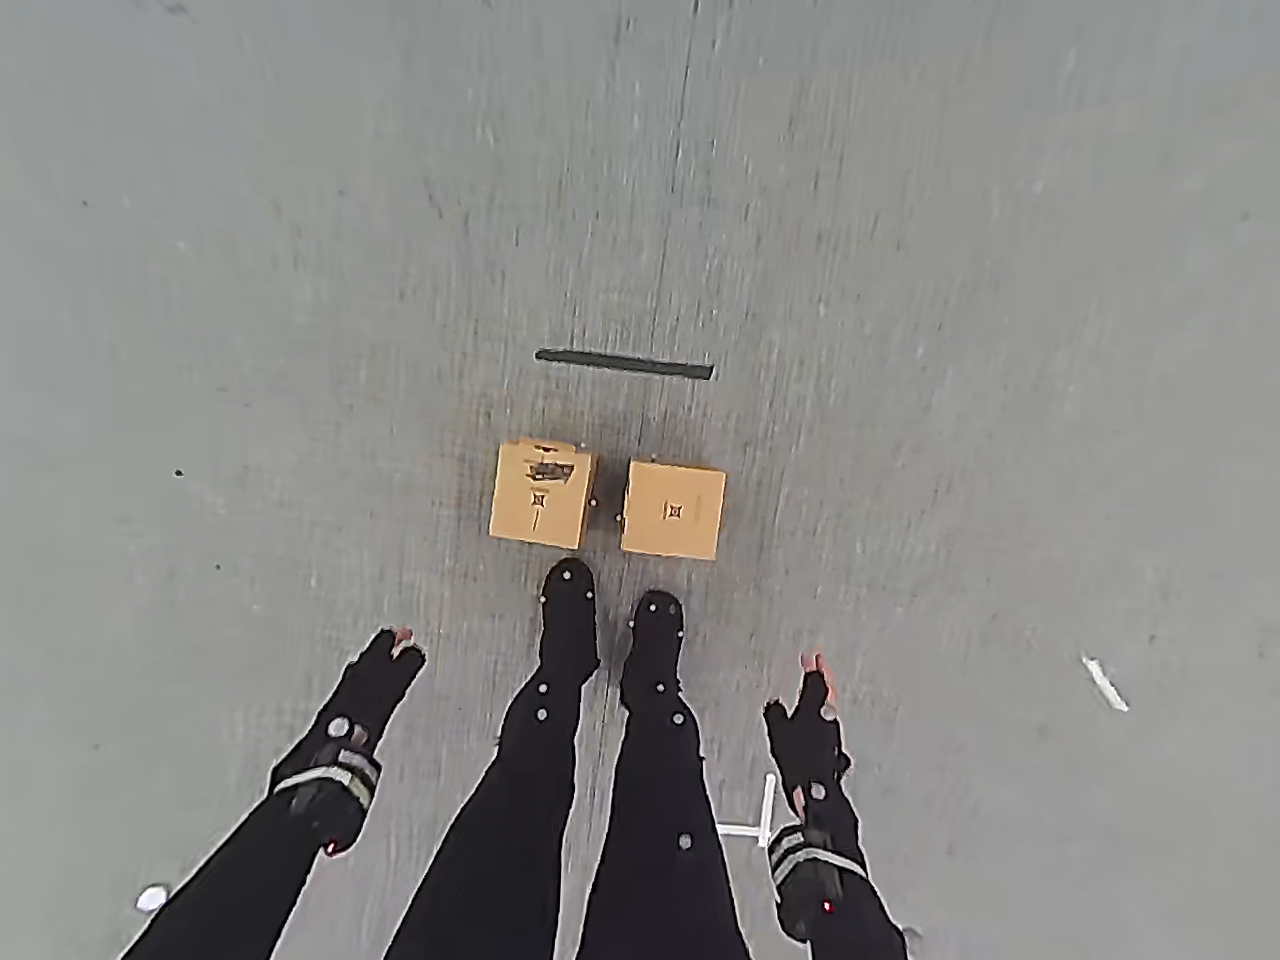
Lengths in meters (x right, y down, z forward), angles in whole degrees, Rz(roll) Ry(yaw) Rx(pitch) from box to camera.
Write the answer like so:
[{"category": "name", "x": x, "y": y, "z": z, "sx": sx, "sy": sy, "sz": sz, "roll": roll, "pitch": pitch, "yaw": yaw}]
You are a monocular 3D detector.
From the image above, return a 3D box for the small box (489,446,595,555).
[{"category": "small box", "x": -0.183, "y": 0.031, "z": 1.058, "sx": 0.168, "sy": 0.176, "sz": 0.179, "roll": 9, "pitch": 95, "yaw": -1}]

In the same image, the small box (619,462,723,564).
[{"category": "small box", "x": 0.055, "y": 0.057, "z": 1.064, "sx": 0.179, "sy": 0.176, "sz": 0.168, "roll": 6, "pitch": 96, "yaw": -2}]
